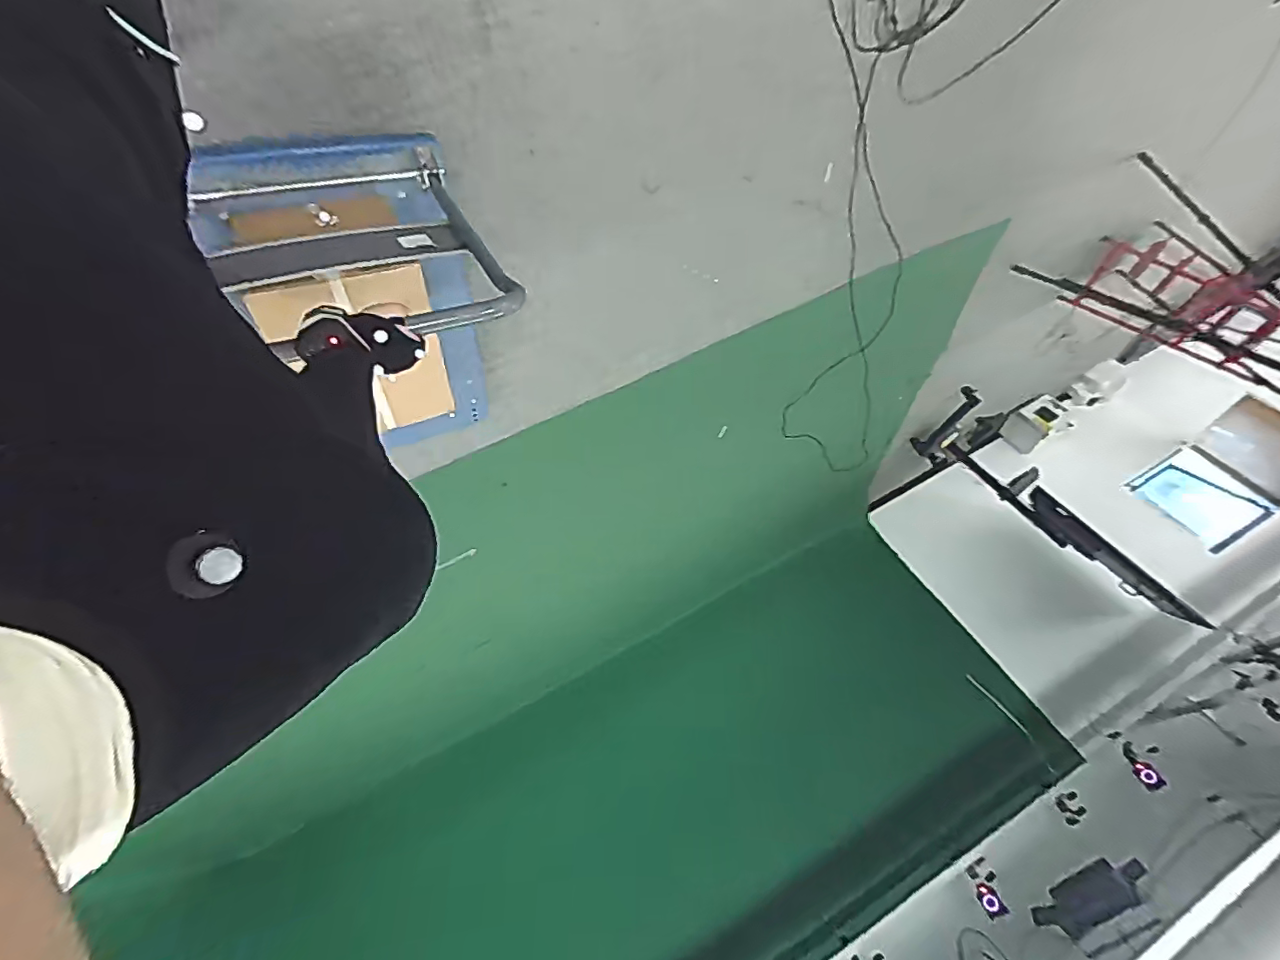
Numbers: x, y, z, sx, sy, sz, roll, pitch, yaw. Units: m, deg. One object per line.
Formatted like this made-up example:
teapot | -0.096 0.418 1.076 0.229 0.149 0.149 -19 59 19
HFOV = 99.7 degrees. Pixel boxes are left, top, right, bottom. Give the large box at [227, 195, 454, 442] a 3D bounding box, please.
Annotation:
large box | -0.663 -0.366 1.240 0.320 0.320 0.408 -20 146 -21
